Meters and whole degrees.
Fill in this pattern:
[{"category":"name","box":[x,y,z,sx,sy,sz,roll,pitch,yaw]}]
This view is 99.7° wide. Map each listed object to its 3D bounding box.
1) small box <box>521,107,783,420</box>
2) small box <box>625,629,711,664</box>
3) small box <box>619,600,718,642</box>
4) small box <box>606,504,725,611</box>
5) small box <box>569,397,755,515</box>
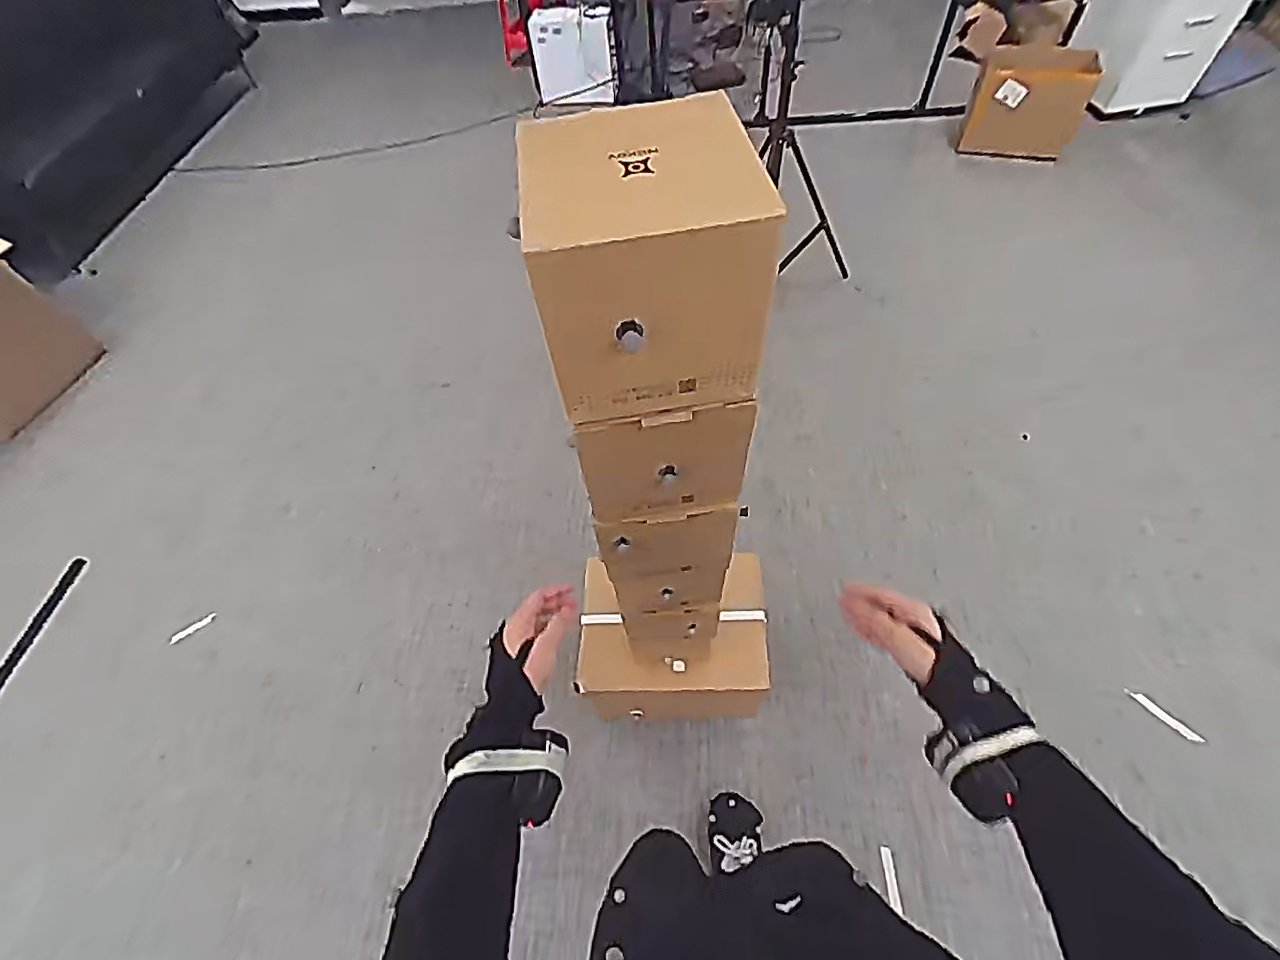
[{"category":"small box","box":[0.005,-0.165,0.444,0.168,0.176,0.179,-9,56,-2]},{"category":"small box","box":[0.059,0.275,1.131,0.168,0.176,0.179,-2,58,4]},{"category":"small box","box":[0.052,0.192,0.992,0.168,0.176,0.179,-3,56,2]},{"category":"small box","box":[0.037,0.099,0.856,0.168,0.176,0.179,-6,57,0]},{"category":"small box","box":[0.016,-0.075,0.579,0.168,0.176,0.179,-9,58,-2]}]
